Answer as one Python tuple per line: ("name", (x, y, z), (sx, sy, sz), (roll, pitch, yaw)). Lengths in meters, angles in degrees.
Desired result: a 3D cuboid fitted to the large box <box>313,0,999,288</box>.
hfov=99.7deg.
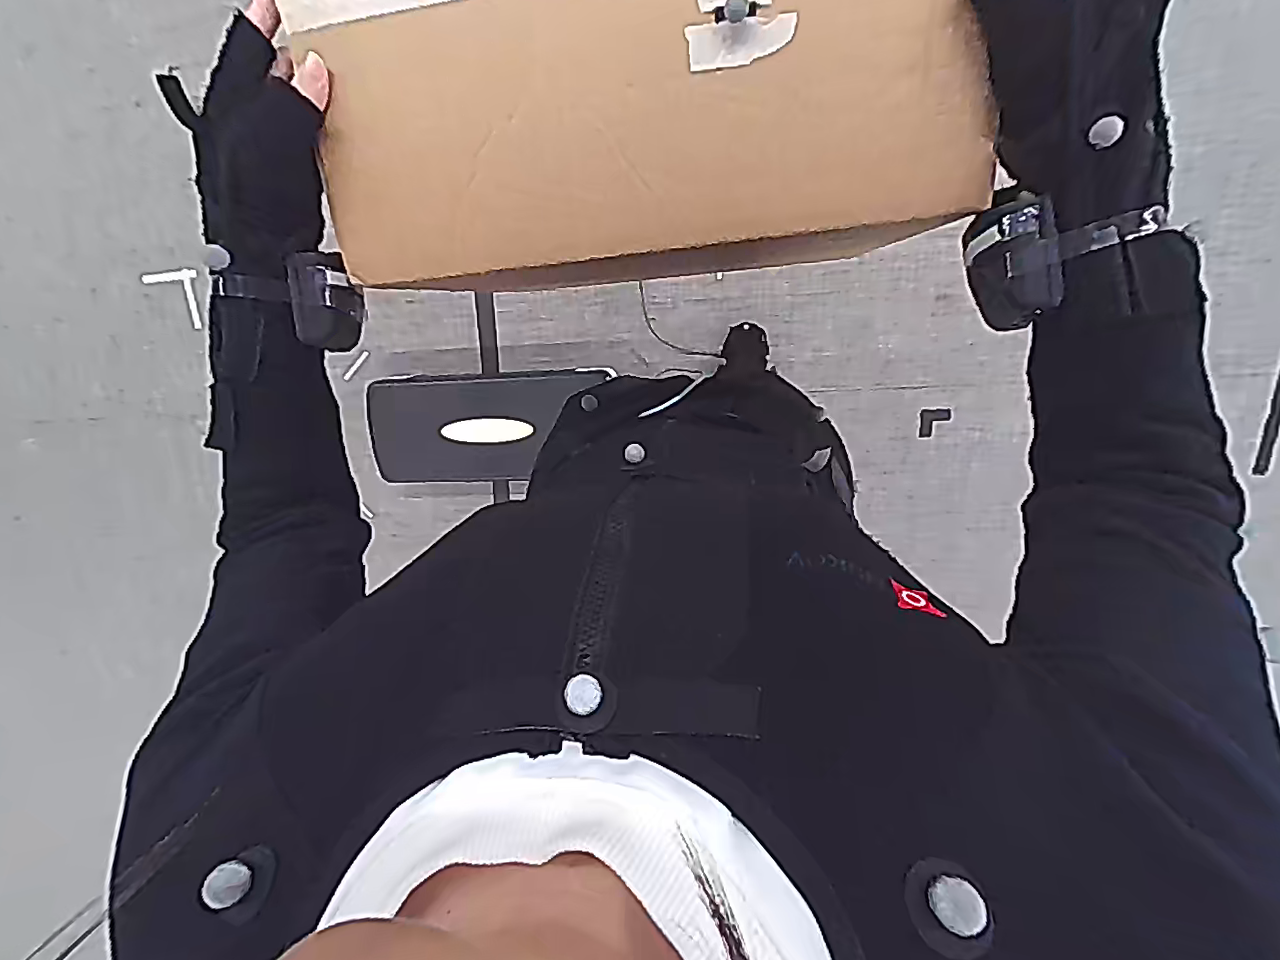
("large box", (0.010, -0.348, 0.445), (0.408, 0.320, 0.320), (-4, 108, 9))
